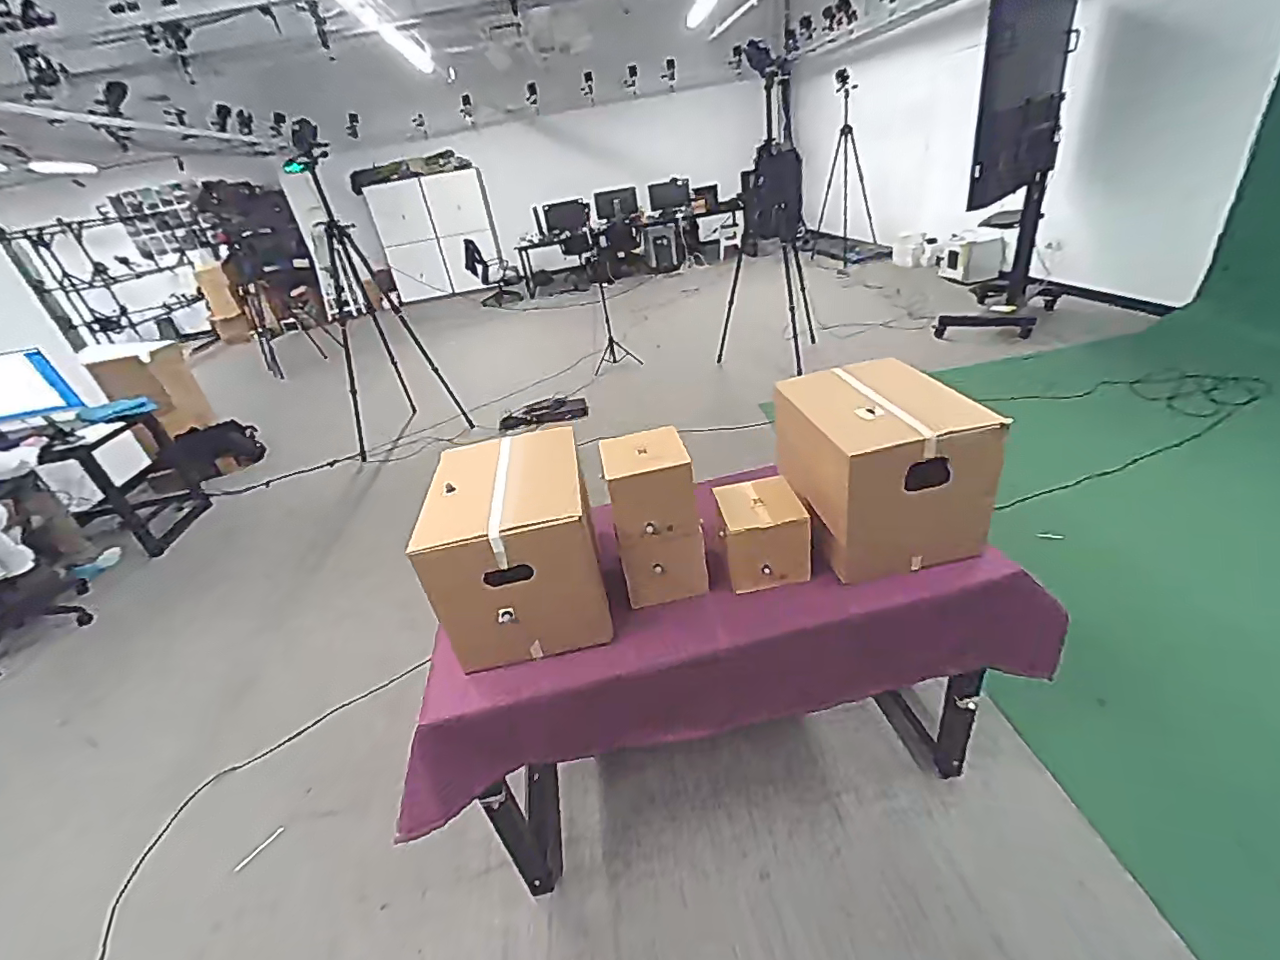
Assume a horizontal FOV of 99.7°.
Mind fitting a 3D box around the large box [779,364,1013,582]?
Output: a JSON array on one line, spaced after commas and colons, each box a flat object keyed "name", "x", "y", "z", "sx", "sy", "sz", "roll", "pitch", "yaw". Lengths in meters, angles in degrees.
[{"name": "large box", "x": 0.532, "y": -0.034, "z": 1.232, "sx": 0.320, "sy": 0.320, "sz": 0.408, "roll": -11, "pitch": 31, "yaw": -2}]
